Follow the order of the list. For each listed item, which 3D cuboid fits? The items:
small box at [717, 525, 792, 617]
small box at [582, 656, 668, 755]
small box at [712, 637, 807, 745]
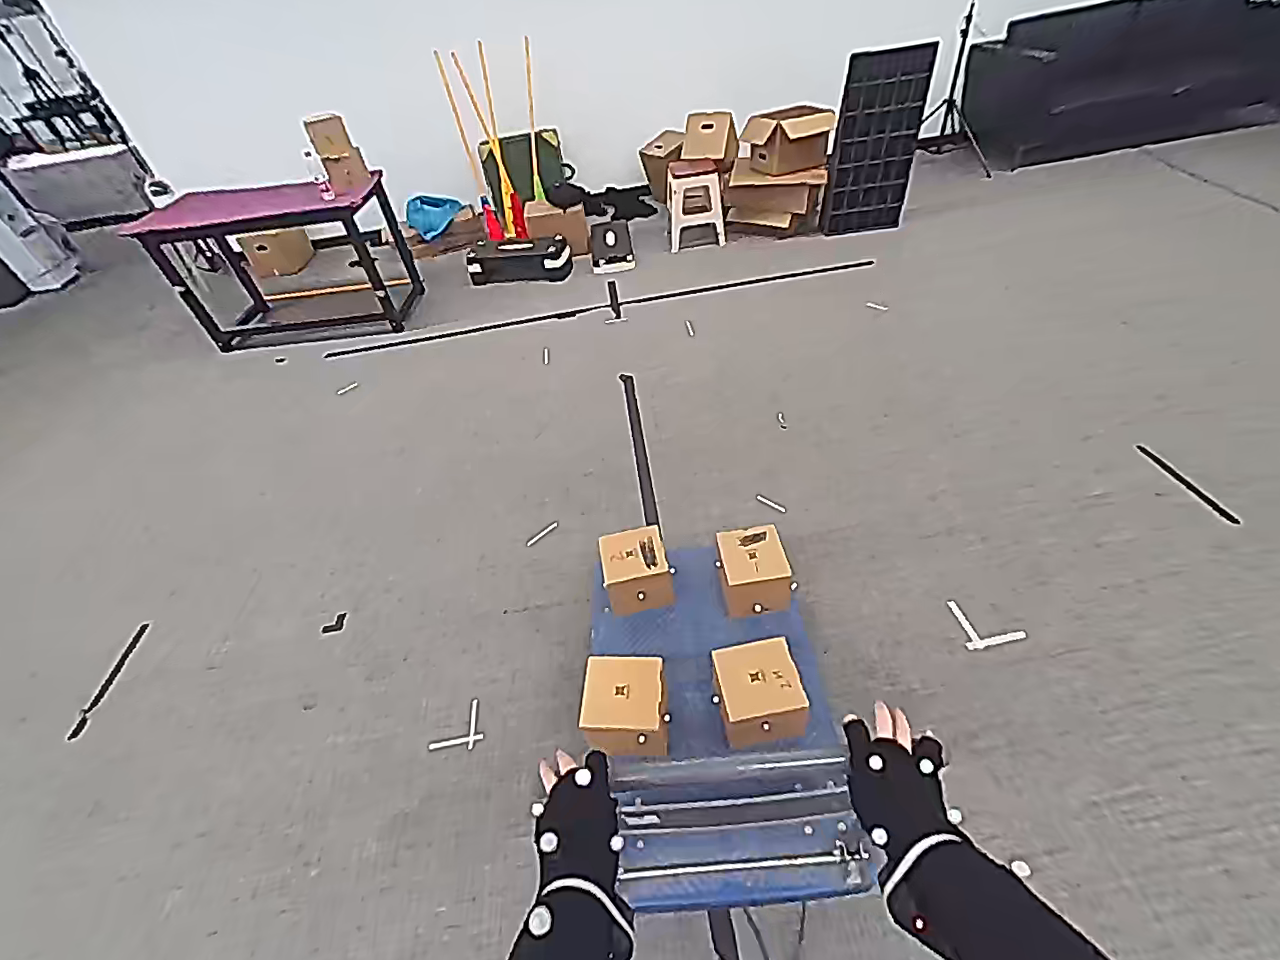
[{"bbox_3d":[0.309,0.253,1.495,0.168,0.176,0.179,-9,45,1],"label":"small box"},{"bbox_3d":[-0.028,0.532,1.272,0.179,0.176,0.168,-2,44,6],"label":"small box"},{"bbox_3d":[0.273,0.494,1.259,0.179,0.176,0.168,-11,45,-1],"label":"small box"}]
